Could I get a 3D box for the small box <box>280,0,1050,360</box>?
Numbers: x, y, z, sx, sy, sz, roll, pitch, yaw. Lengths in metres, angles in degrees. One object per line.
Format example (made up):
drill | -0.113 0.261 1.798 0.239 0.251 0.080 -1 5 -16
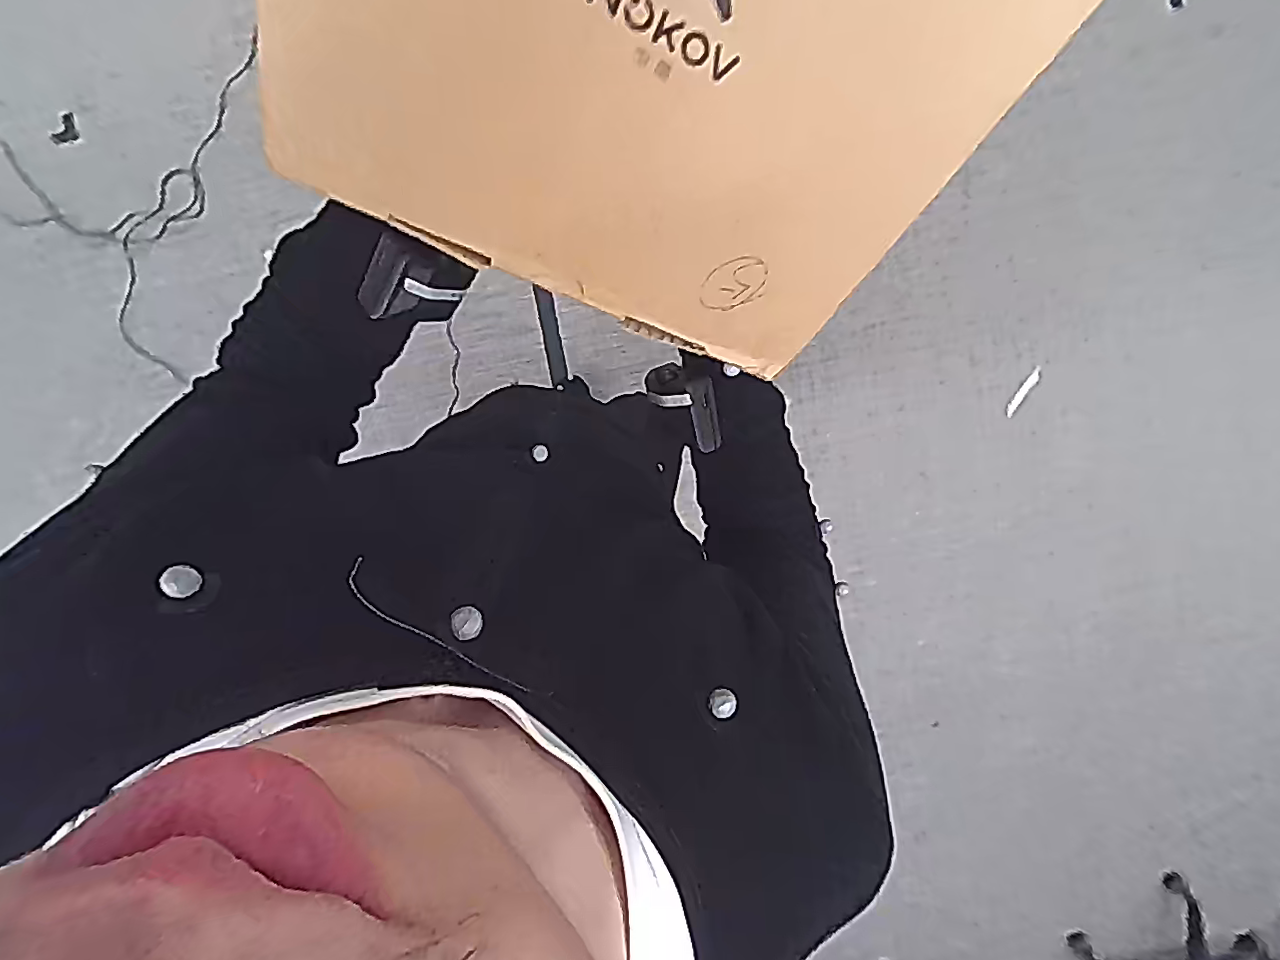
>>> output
small box | 0.008 -0.179 0.175 0.168 0.176 0.179 16 136 -19
